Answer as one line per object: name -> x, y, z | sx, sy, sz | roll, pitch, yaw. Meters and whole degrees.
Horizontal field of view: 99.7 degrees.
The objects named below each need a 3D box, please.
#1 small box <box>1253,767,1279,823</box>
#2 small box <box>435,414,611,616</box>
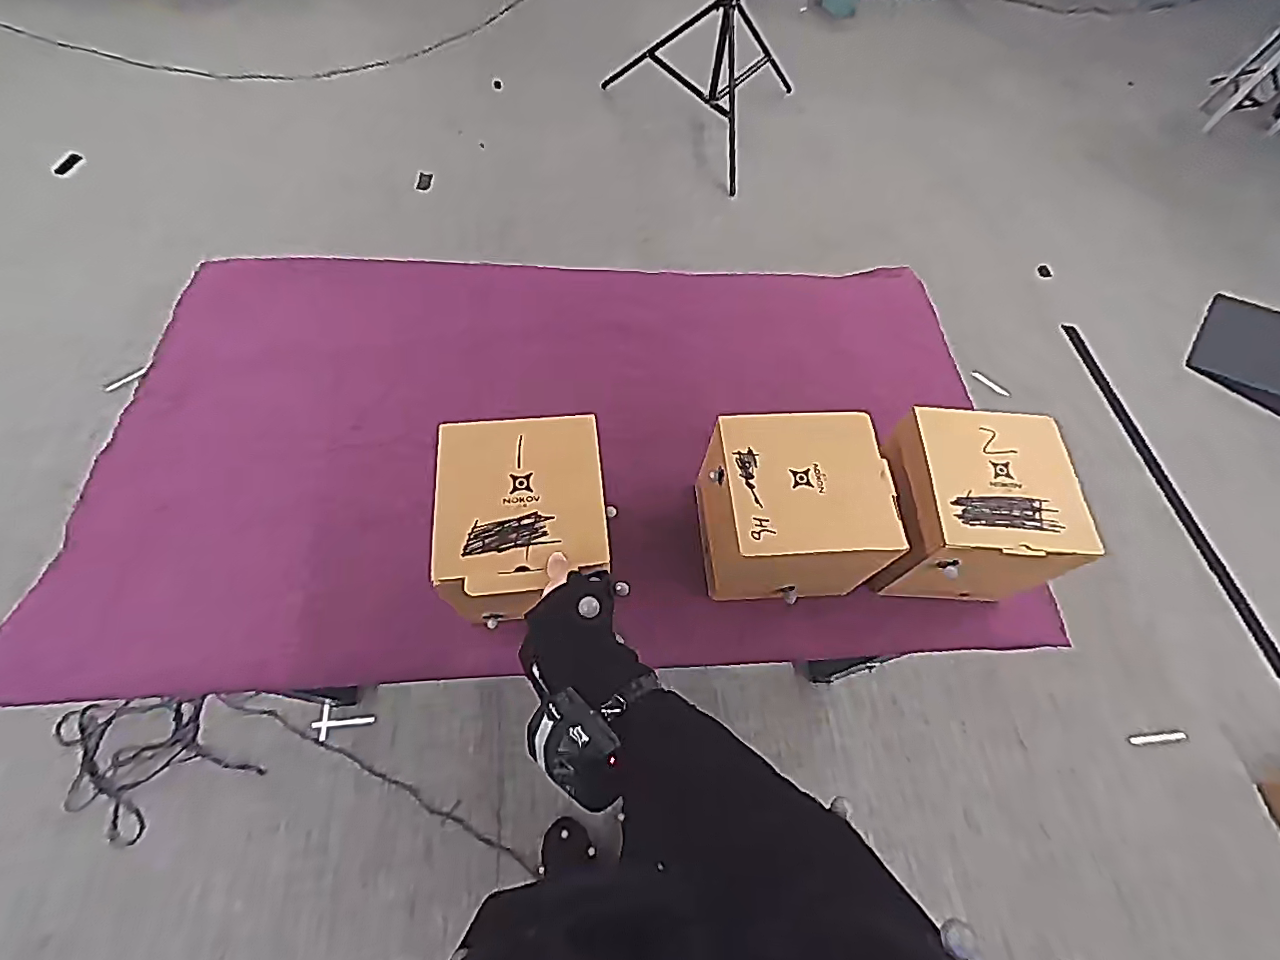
small box -> 1.573, 0.741, 1.208 | 0.168, 0.176, 0.179 | -8, 63, -10
small box -> -0.120, 0.048, 0.606 | 0.168, 0.176, 0.179 | -4, 63, -7
